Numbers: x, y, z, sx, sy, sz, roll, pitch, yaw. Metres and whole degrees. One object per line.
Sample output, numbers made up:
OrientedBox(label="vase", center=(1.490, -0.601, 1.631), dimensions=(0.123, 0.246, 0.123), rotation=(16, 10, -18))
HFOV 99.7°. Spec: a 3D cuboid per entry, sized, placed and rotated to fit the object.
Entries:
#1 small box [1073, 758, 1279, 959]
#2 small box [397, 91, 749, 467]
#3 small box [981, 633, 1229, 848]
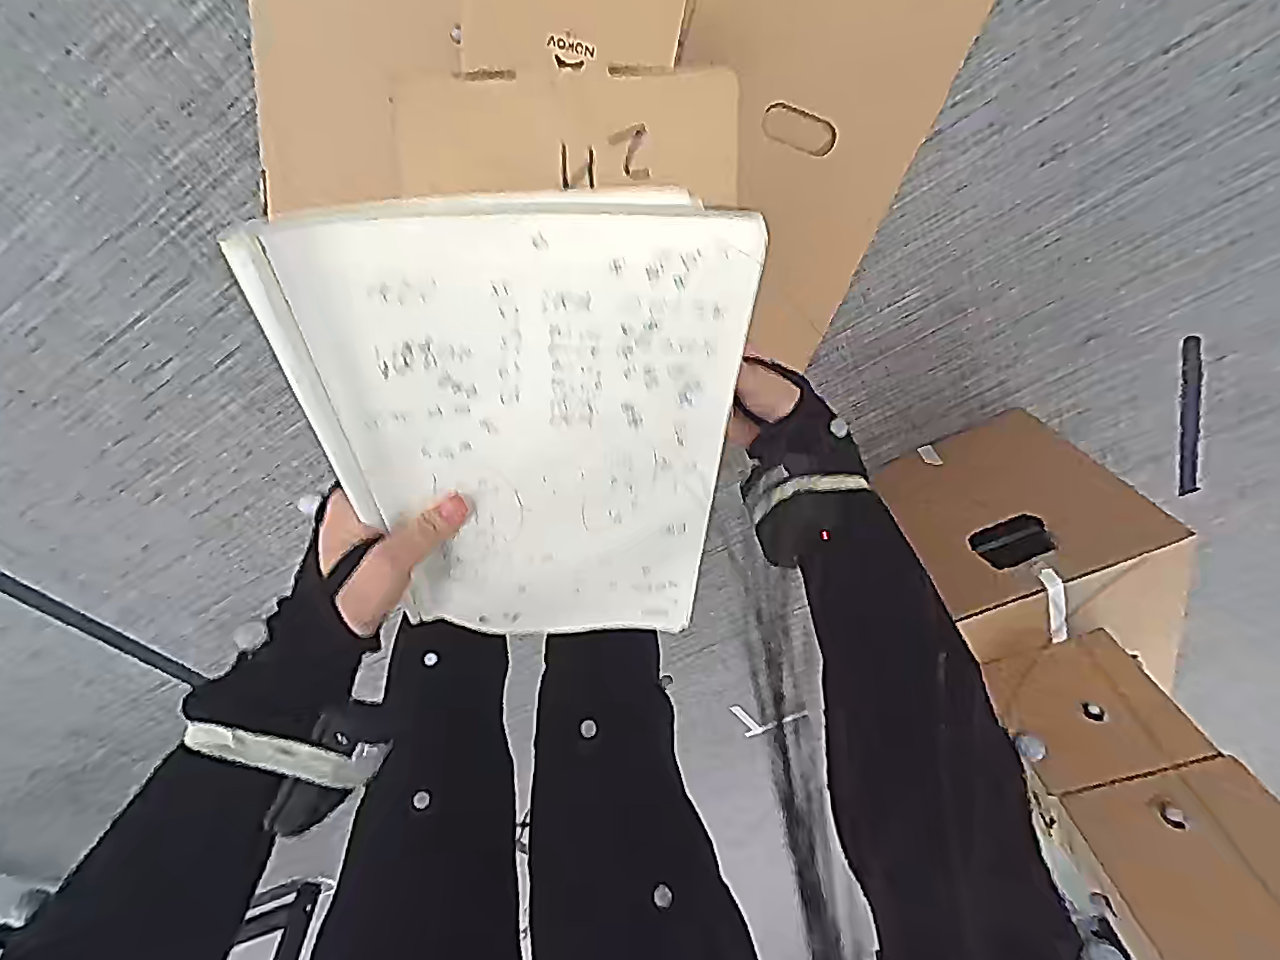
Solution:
OrientedBox(label="small box", center=(0.587, 0.420, 0.556), dimensions=(0.179, 0.176, 0.168), rotation=(-25, 125, 14))
OrientedBox(label="small box", center=(-0.029, -0.112, 0.347), dimensions=(0.168, 0.176, 0.179), rotation=(-2, 104, 0))
OrientedBox(label="small box", center=(0.566, 0.329, 0.690), dimensions=(0.179, 0.176, 0.168), rotation=(-24, 125, 11))
